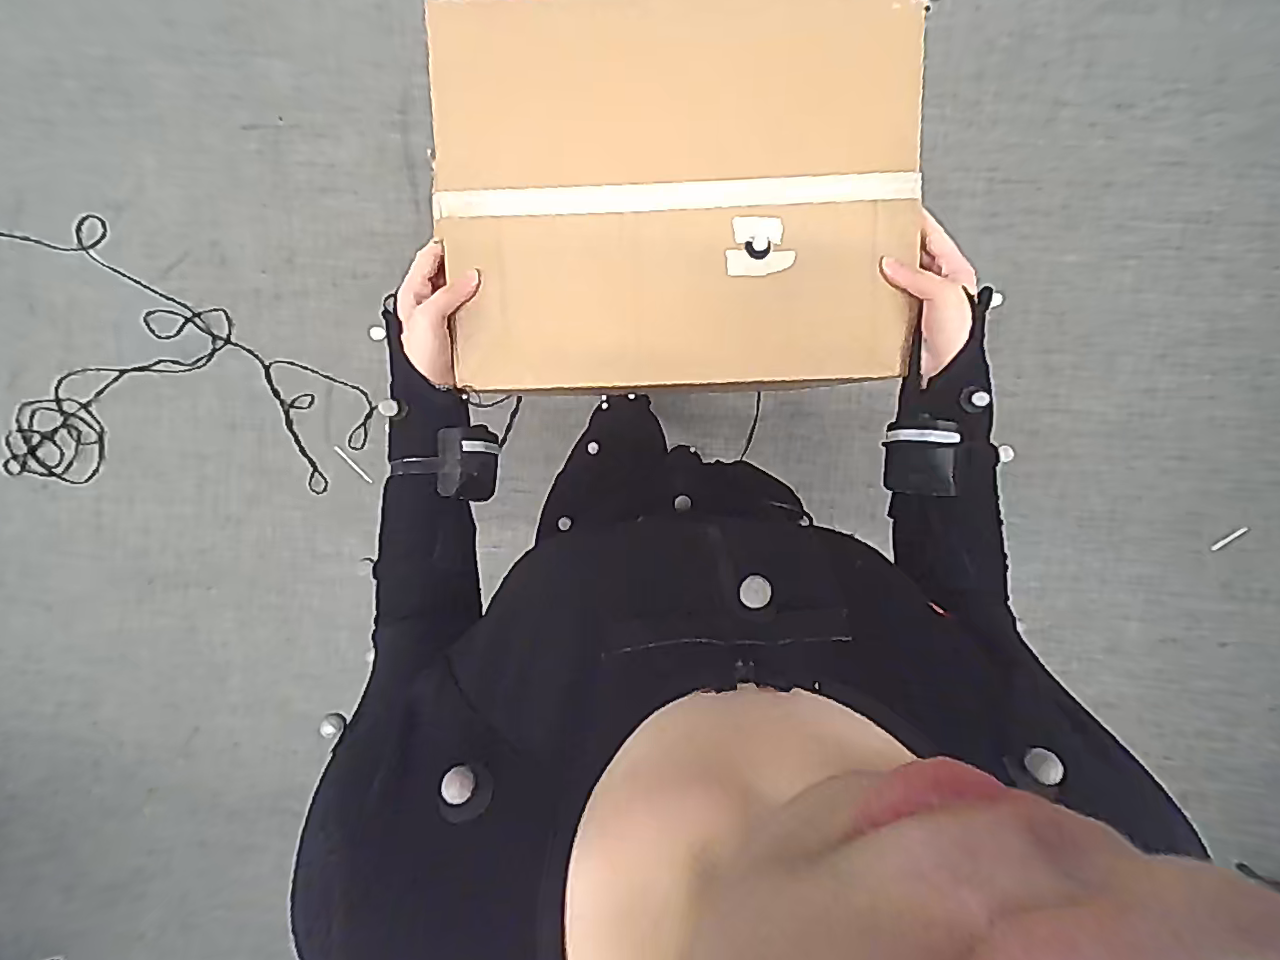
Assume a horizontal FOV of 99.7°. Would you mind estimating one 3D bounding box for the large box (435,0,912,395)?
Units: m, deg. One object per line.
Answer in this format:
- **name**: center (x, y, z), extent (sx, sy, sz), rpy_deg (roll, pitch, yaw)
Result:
- **large box**: center (0.031, -0.266, 0.612), extent (0.408, 0.320, 0.320), rpy_deg (-2, 98, -1)
